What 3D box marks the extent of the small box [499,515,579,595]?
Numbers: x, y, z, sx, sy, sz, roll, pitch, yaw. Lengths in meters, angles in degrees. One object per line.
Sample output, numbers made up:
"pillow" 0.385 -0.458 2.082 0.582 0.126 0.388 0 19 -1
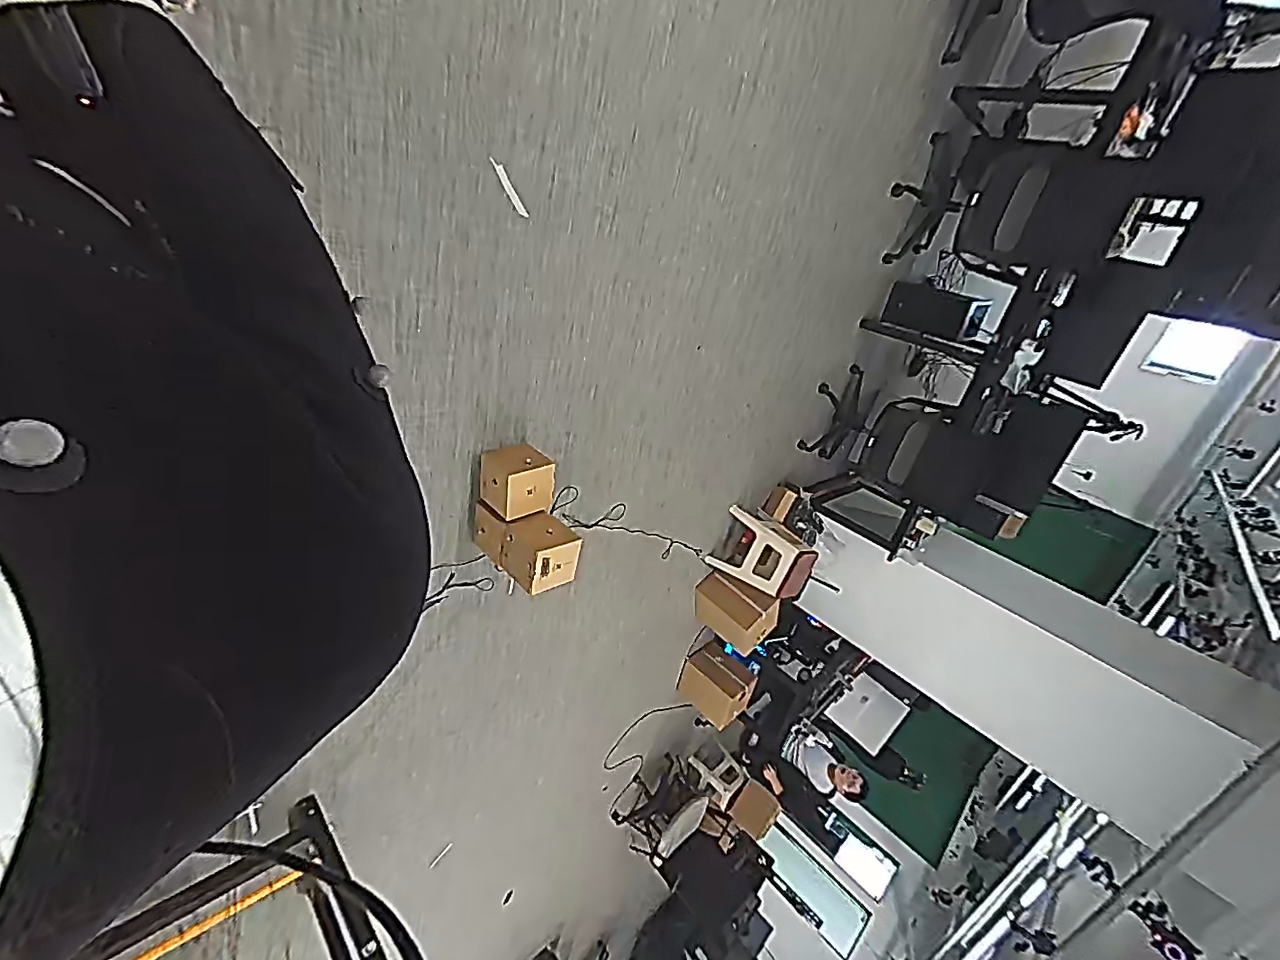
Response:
"small box" -0.326 0.231 1.718 0.179 0.176 0.168 -13 126 -46
